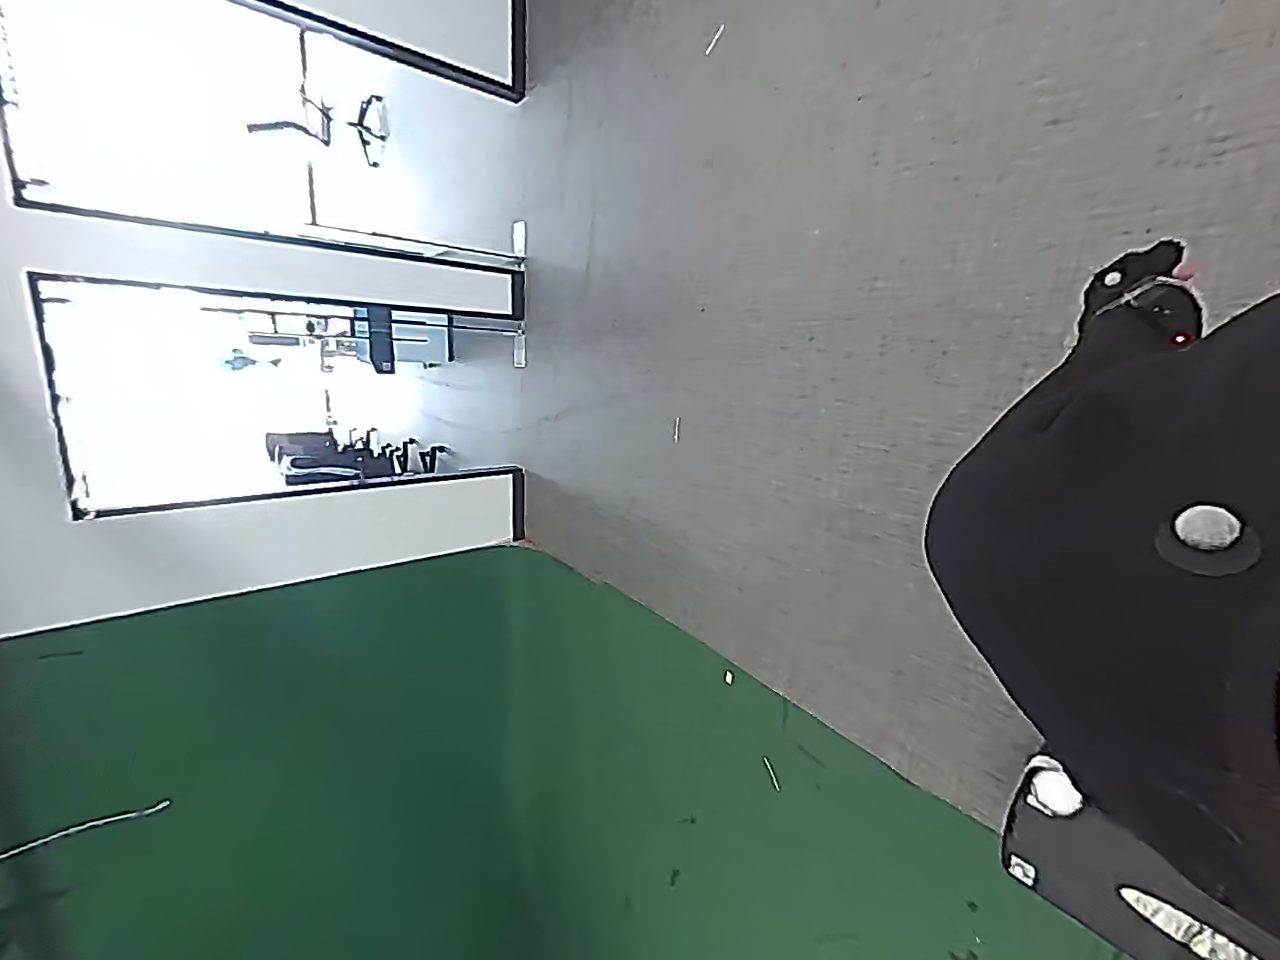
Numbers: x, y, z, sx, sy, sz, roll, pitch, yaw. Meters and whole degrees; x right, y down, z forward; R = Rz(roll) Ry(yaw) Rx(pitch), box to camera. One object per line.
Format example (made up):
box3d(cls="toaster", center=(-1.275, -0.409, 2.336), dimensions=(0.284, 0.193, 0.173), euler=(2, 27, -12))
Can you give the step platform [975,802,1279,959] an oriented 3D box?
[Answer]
box3d(cls="step platform", center=(0.981, 0.889, 0.911), dimensions=(0.684, 0.204, 0.286), euler=(18, 110, 48))
